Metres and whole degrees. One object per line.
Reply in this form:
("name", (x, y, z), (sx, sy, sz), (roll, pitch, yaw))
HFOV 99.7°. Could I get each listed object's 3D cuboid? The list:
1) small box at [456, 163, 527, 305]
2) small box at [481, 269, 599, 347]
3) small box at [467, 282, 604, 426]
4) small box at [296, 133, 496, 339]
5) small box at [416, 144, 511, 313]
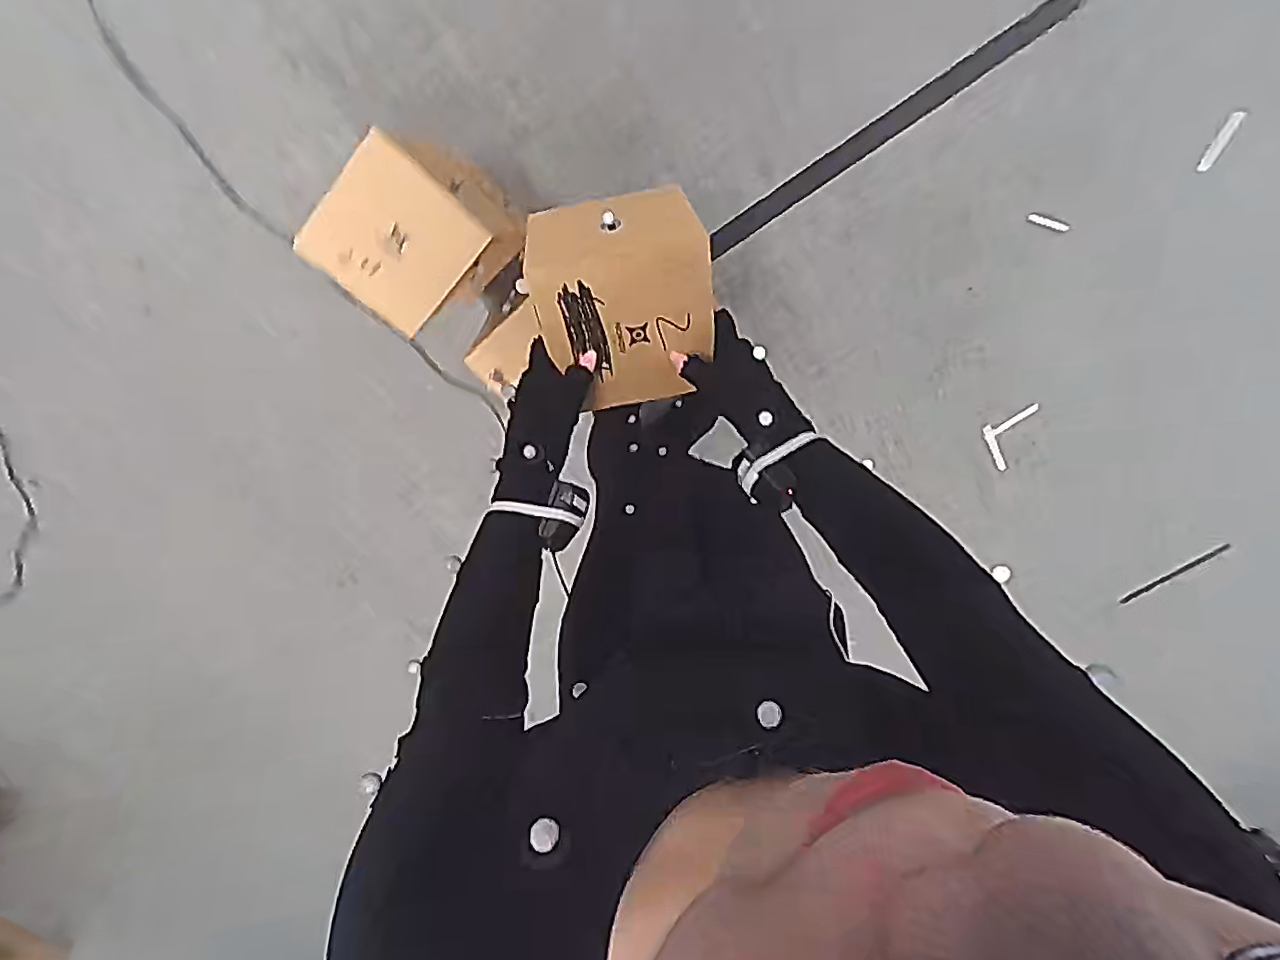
("small box", (-0.328, -0.467, 1.031), (0.179, 0.176, 0.168), (-42, 116, 13))
("small box", (-0.207, -0.318, 1.133), (0.179, 0.176, 0.168), (-35, 117, 11))
("small box", (-0.189, -0.237, 0.990), (0.179, 0.176, 0.168), (-39, 116, 12))
("small box", (-0.312, -0.327, 0.732), (0.168, 0.176, 0.179), (39, 106, -25))
("small box", (-0.325, -0.404, 0.878), (0.179, 0.176, 0.168), (-41, 117, 12))
